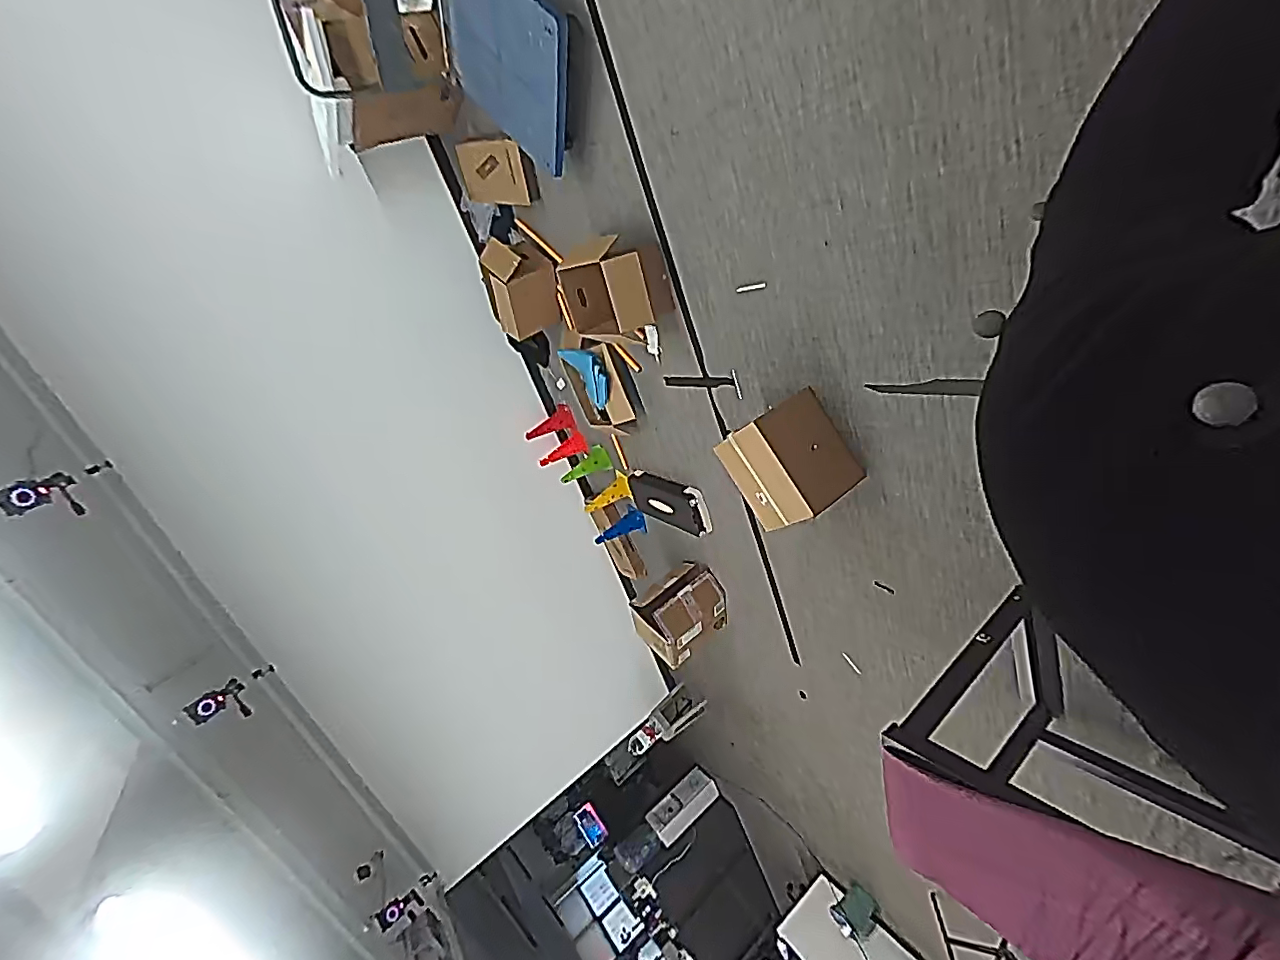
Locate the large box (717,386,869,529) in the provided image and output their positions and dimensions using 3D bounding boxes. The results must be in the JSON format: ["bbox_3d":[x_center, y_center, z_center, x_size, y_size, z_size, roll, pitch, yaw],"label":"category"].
[{"bbox_3d":[0.578,-0.081,2.071,0.408,0.320,0.320,56,156,2],"label":"large box"}]
